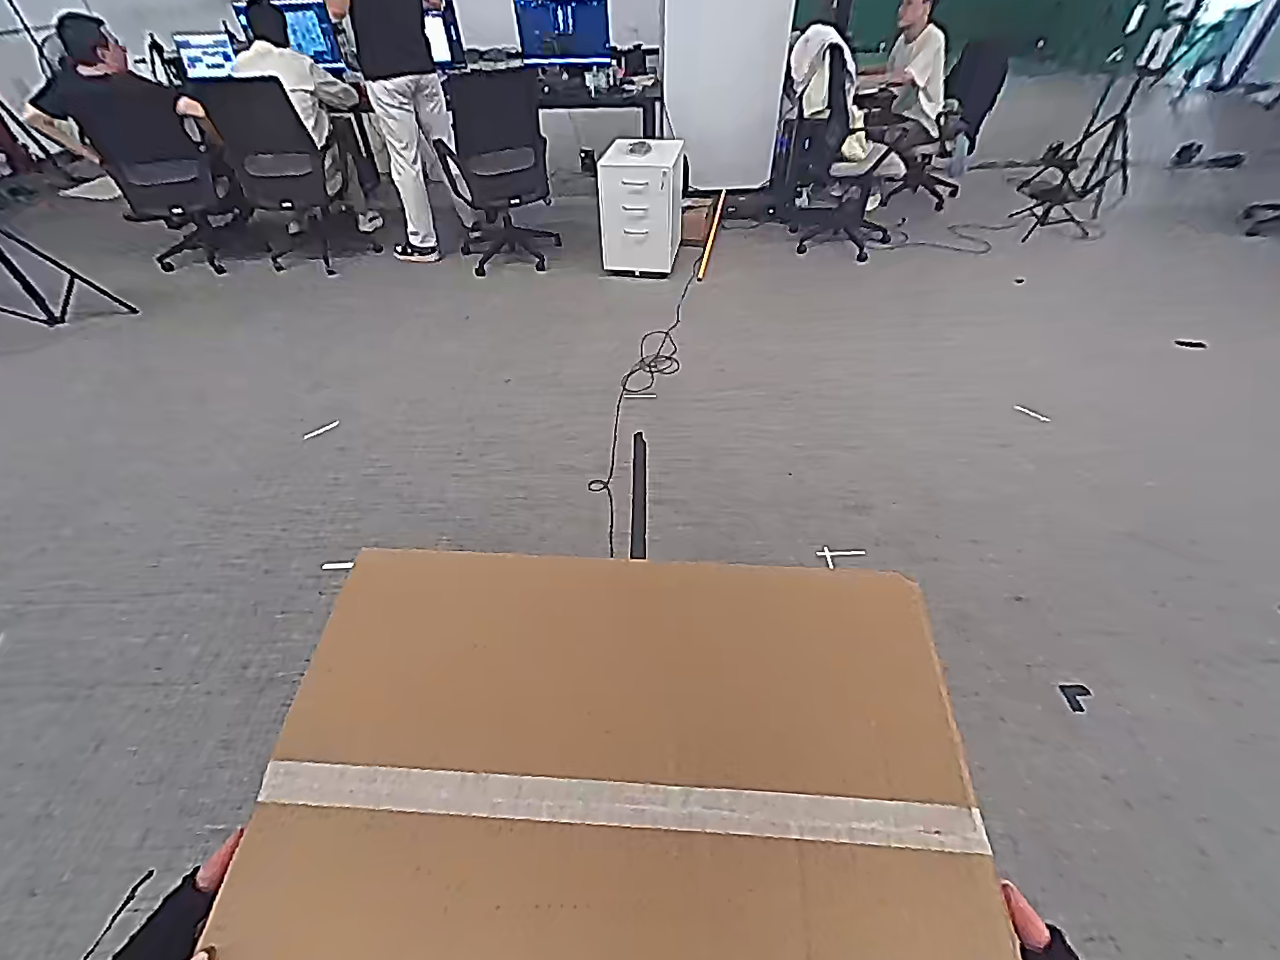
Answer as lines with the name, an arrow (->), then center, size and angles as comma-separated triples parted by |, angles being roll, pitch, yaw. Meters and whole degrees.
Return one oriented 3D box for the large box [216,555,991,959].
large box -> -0.014, 0.275, 0.439 | 0.408, 0.320, 0.320 | 2, 54, 4
